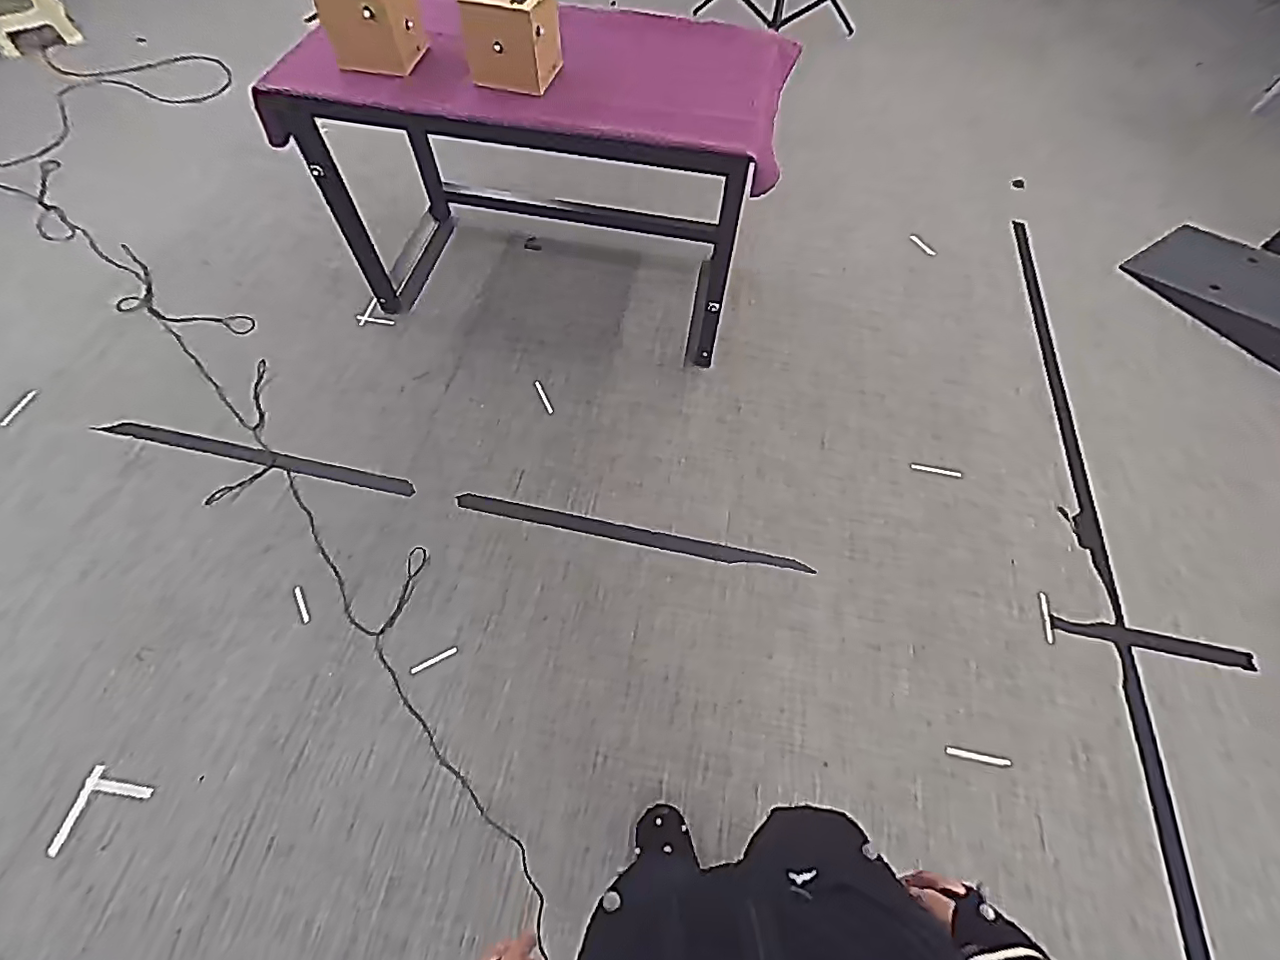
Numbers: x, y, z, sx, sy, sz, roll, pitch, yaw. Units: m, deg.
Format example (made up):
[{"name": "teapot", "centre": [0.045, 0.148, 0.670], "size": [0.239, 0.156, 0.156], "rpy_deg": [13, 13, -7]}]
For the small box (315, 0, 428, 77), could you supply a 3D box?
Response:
[{"name": "small box", "centre": [-0.635, -1.104, 1.297], "size": [0.179, 0.176, 0.168], "rpy_deg": [8, 60, 3]}]
